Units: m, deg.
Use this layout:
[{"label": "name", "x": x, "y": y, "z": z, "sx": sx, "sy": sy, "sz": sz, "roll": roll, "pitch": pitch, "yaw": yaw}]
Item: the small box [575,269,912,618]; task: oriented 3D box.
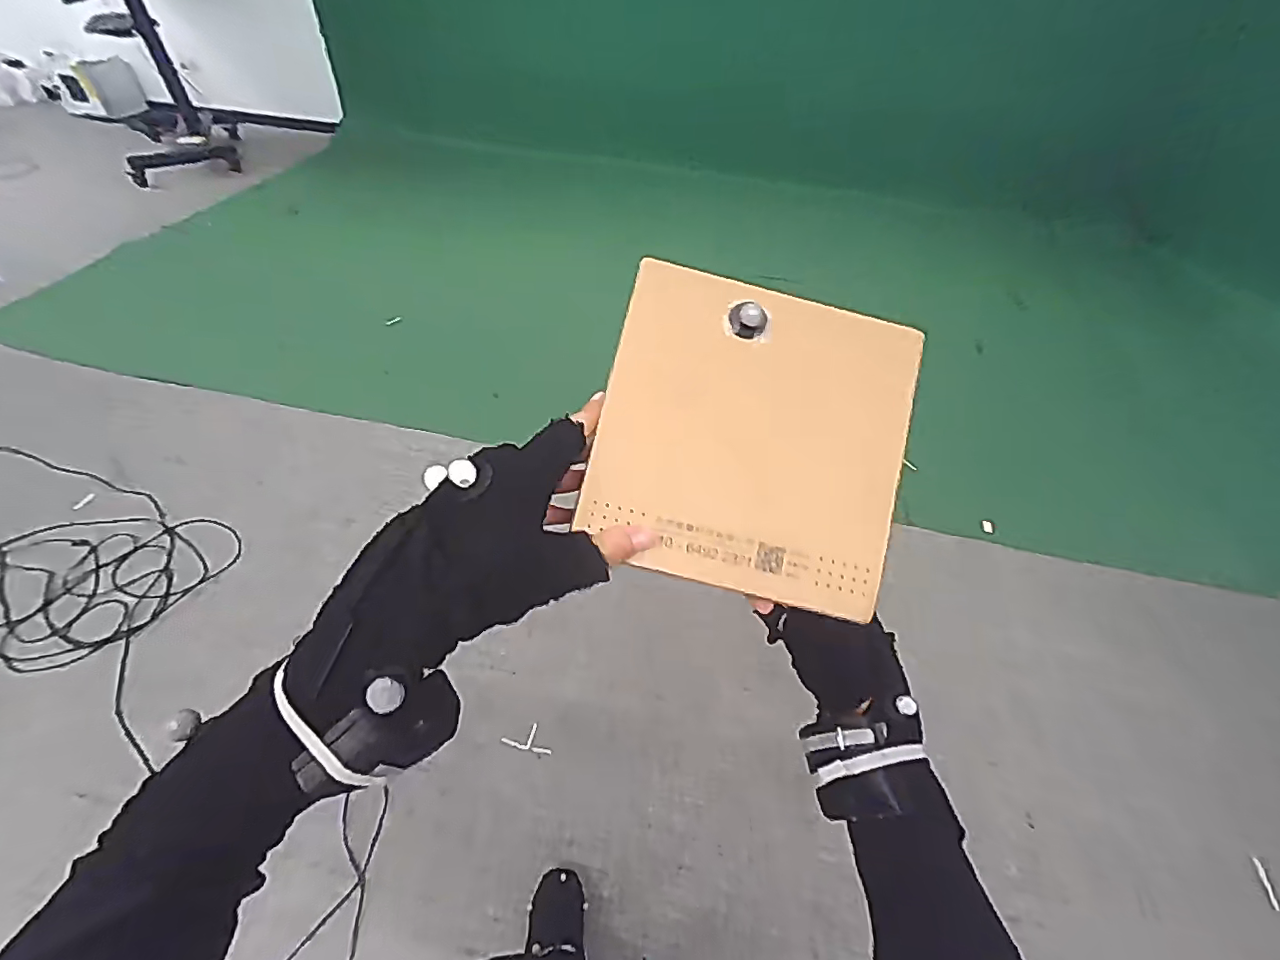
[{"label": "small box", "x": 0.056, "y": -0.011, "z": 0.384, "sx": 0.168, "sy": 0.179, "sz": 0.176, "roll": 15, "pitch": 82, "yaw": -2}]
